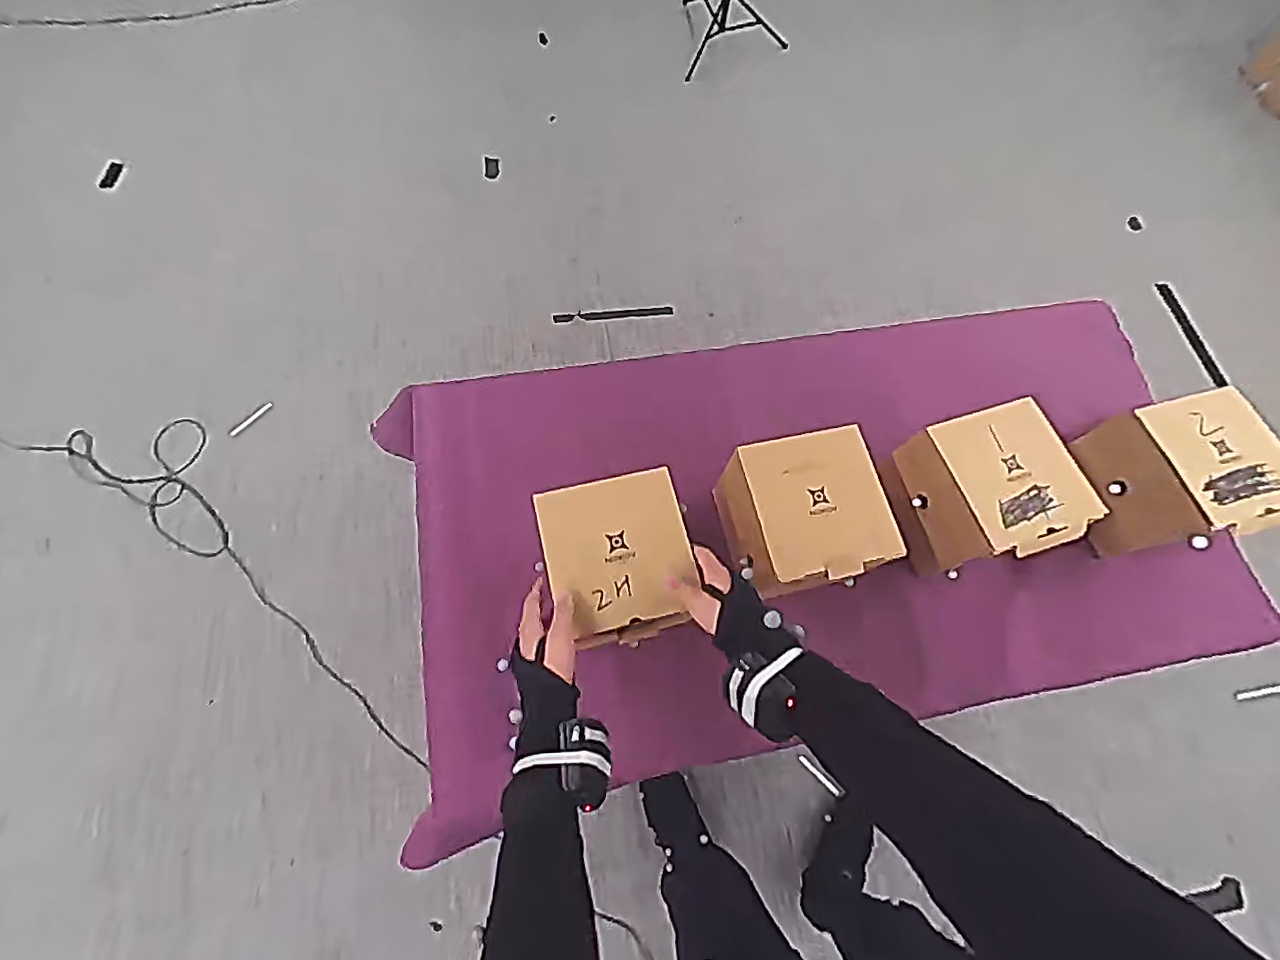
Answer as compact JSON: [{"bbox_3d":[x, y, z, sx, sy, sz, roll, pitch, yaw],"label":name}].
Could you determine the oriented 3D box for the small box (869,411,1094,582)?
[{"bbox_3d":[0.455,0.034,0.756,0.168,0.176,0.179,-16,69,-9],"label":"small box"}]

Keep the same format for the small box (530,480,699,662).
[{"bbox_3d":[-0.037,0.122,0.689,0.168,0.176,0.179,-12,70,-7],"label":"small box"}]

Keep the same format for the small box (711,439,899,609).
[{"bbox_3d":[0.205,0.069,0.728,0.168,0.176,0.179,-11,69,-8],"label":"small box"}]
